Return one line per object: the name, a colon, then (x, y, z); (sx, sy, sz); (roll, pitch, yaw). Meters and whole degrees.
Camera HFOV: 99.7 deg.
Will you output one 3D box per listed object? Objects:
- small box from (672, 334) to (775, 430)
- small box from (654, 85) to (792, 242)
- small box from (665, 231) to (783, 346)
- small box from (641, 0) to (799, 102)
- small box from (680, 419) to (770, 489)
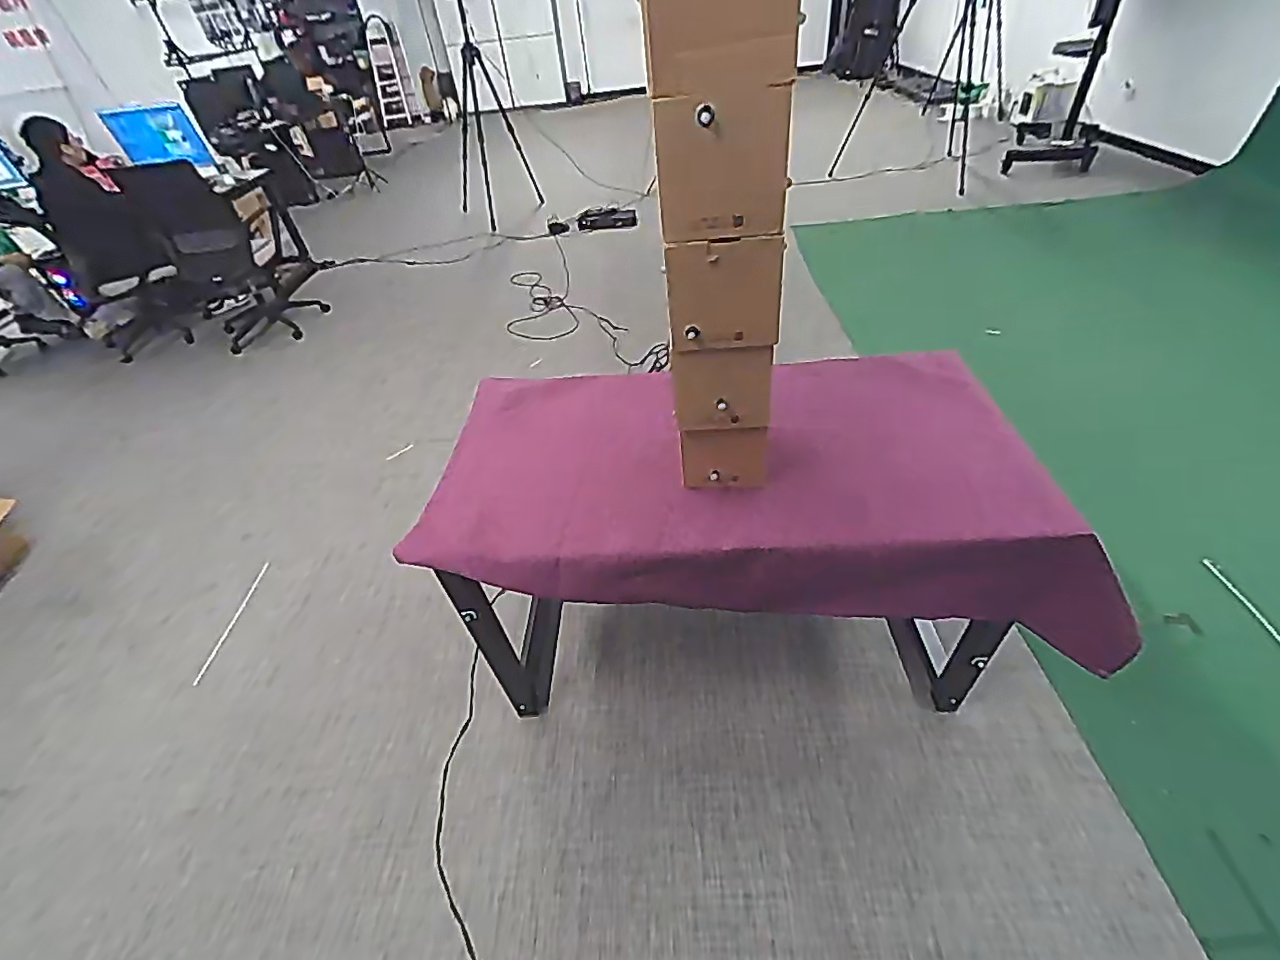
small box: (0.147, -0.209, 0.976); (0.168, 0.176, 0.179); (-3, 43, 8)
small box: (0.114, -0.446, 0.752); (0.168, 0.176, 0.179); (-1, 42, 9)
small box: (0.133, -0.323, 0.859); (0.168, 0.176, 0.179); (-2, 42, 8)
small box: (0.095, -0.565, 0.642); (0.179, 0.176, 0.168); (1, 44, 10)
small box: (0.170, -0.101, 1.097); (0.168, 0.176, 0.179); (-1, 43, 9)
